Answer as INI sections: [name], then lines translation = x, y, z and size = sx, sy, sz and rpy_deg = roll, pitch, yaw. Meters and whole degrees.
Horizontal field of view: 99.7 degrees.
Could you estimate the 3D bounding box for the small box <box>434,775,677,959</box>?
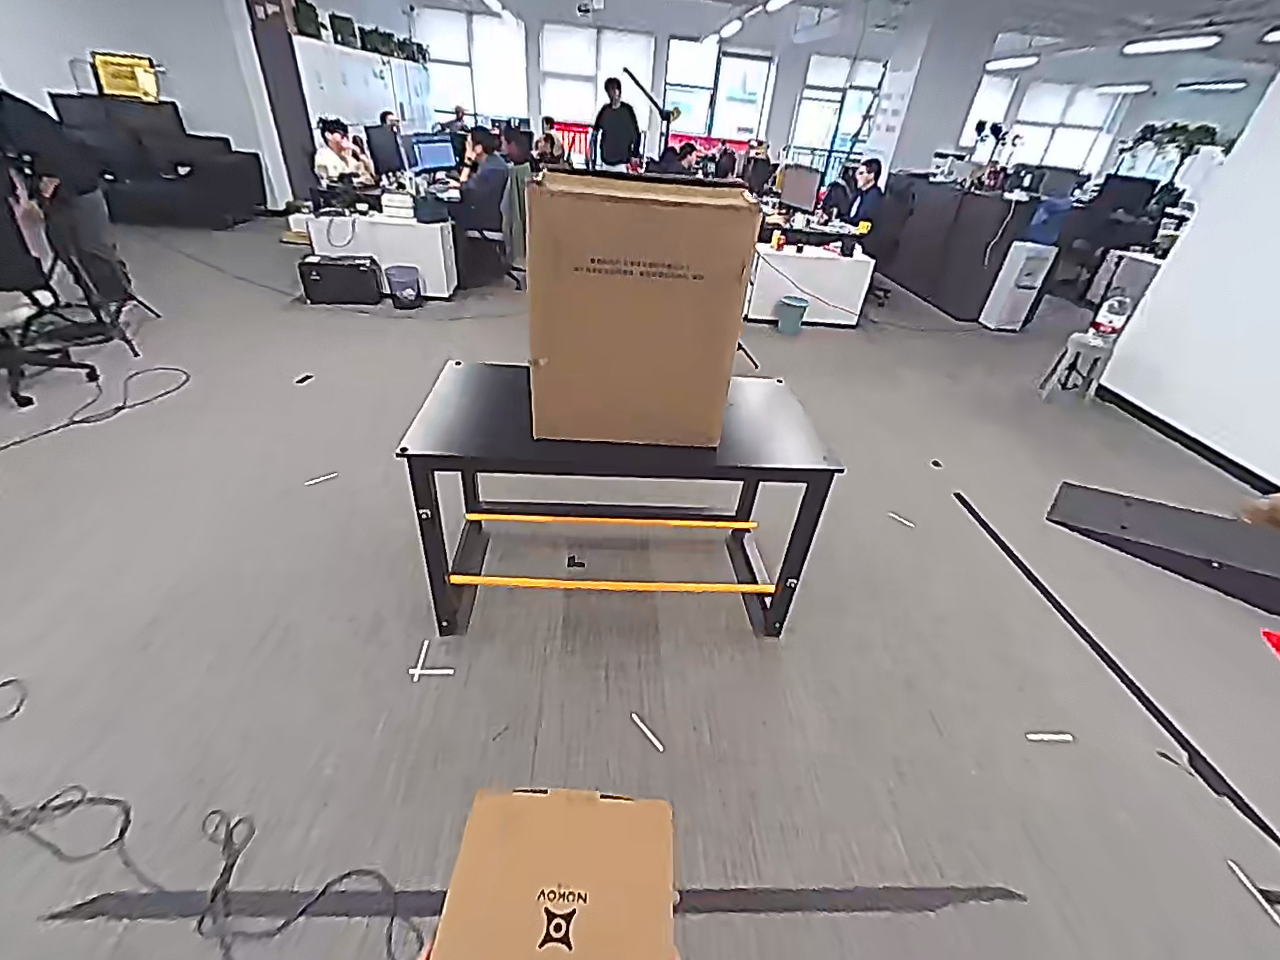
[small box]
translation = -0.062, 0.372, 0.434
size = 0.168, 0.176, 0.179
rpy_deg = 5, 35, -1
